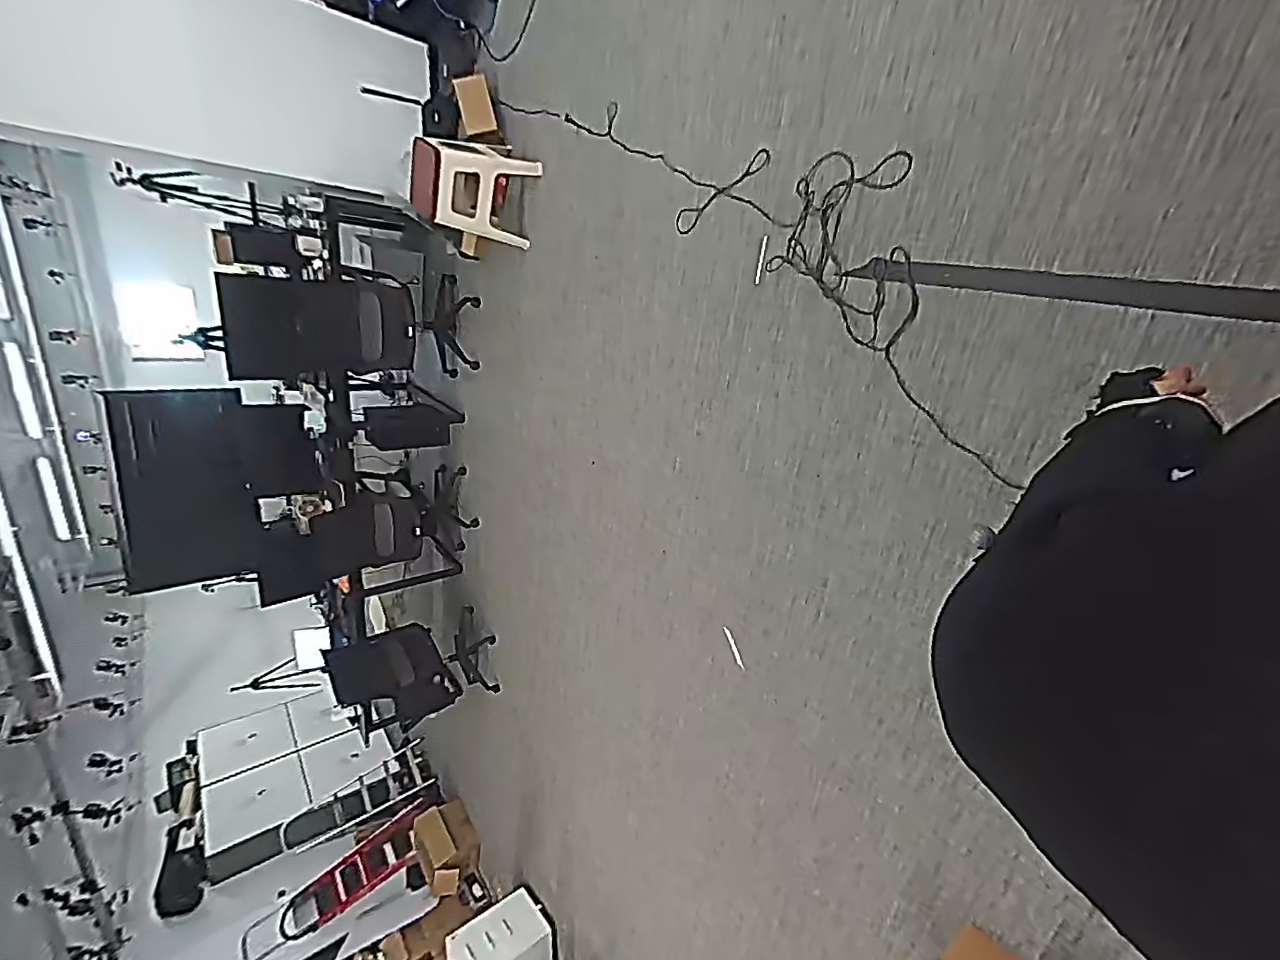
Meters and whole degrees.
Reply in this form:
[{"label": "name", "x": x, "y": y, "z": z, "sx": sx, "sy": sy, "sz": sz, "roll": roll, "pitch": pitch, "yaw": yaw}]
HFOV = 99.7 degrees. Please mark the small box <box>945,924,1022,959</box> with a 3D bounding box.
[{"label": "small box", "x": 0.871, "y": 1.279, "z": 1.363, "sx": 0.179, "sy": 0.176, "sz": 0.168, "roll": 30, "pitch": 120, "yaw": 43}]
